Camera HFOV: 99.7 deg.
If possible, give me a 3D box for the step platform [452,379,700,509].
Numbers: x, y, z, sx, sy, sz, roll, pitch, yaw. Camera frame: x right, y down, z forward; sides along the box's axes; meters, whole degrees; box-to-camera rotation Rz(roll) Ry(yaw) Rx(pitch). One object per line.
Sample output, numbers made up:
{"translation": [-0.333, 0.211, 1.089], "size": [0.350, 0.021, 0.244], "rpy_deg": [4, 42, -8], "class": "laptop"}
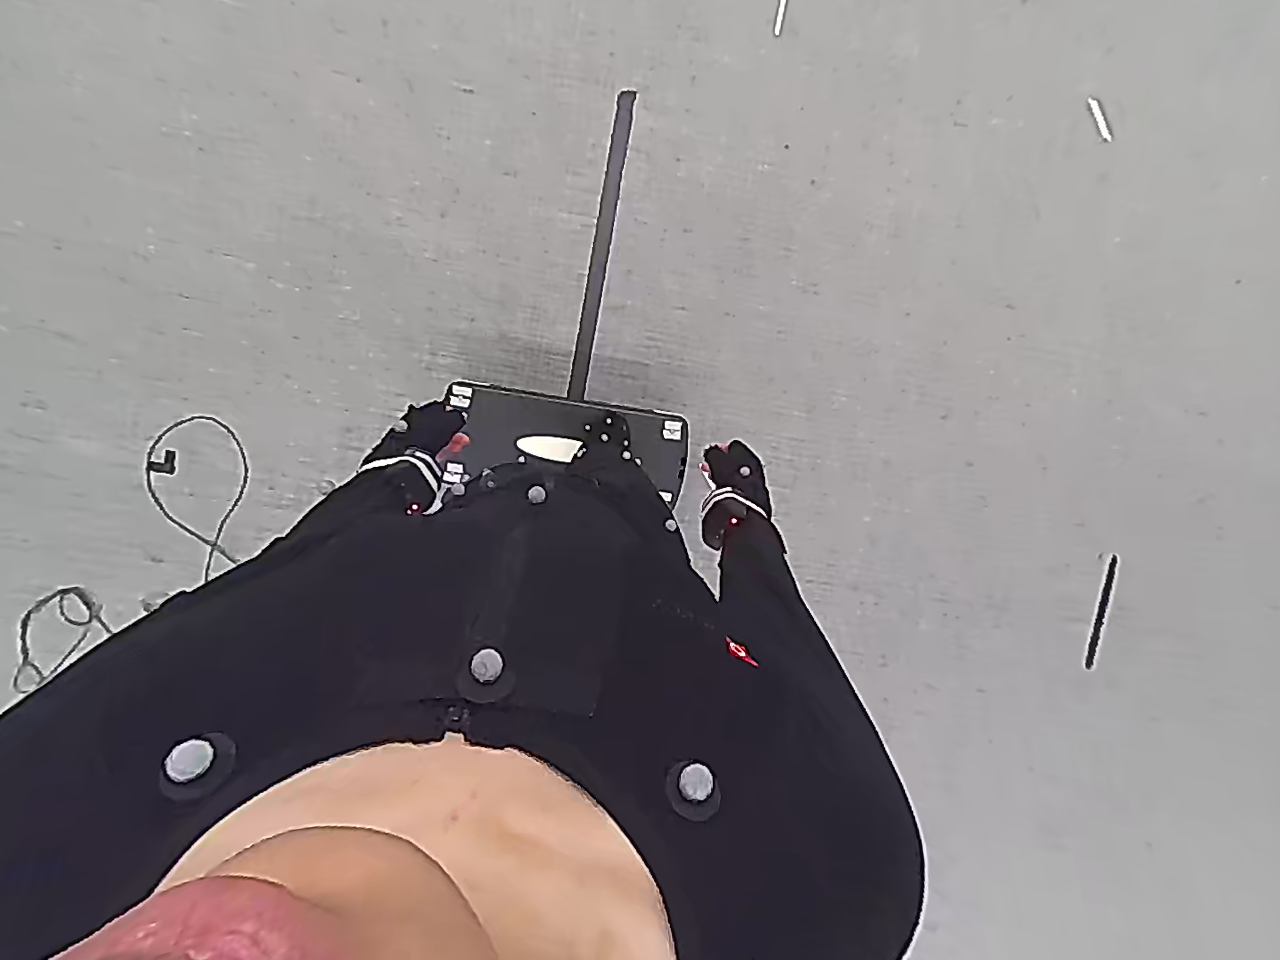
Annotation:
{"translation": [-0.174, -0.101, 1.535], "size": [0.684, 0.204, 0.286], "rpy_deg": [8, 96, -6], "class": "step platform"}
